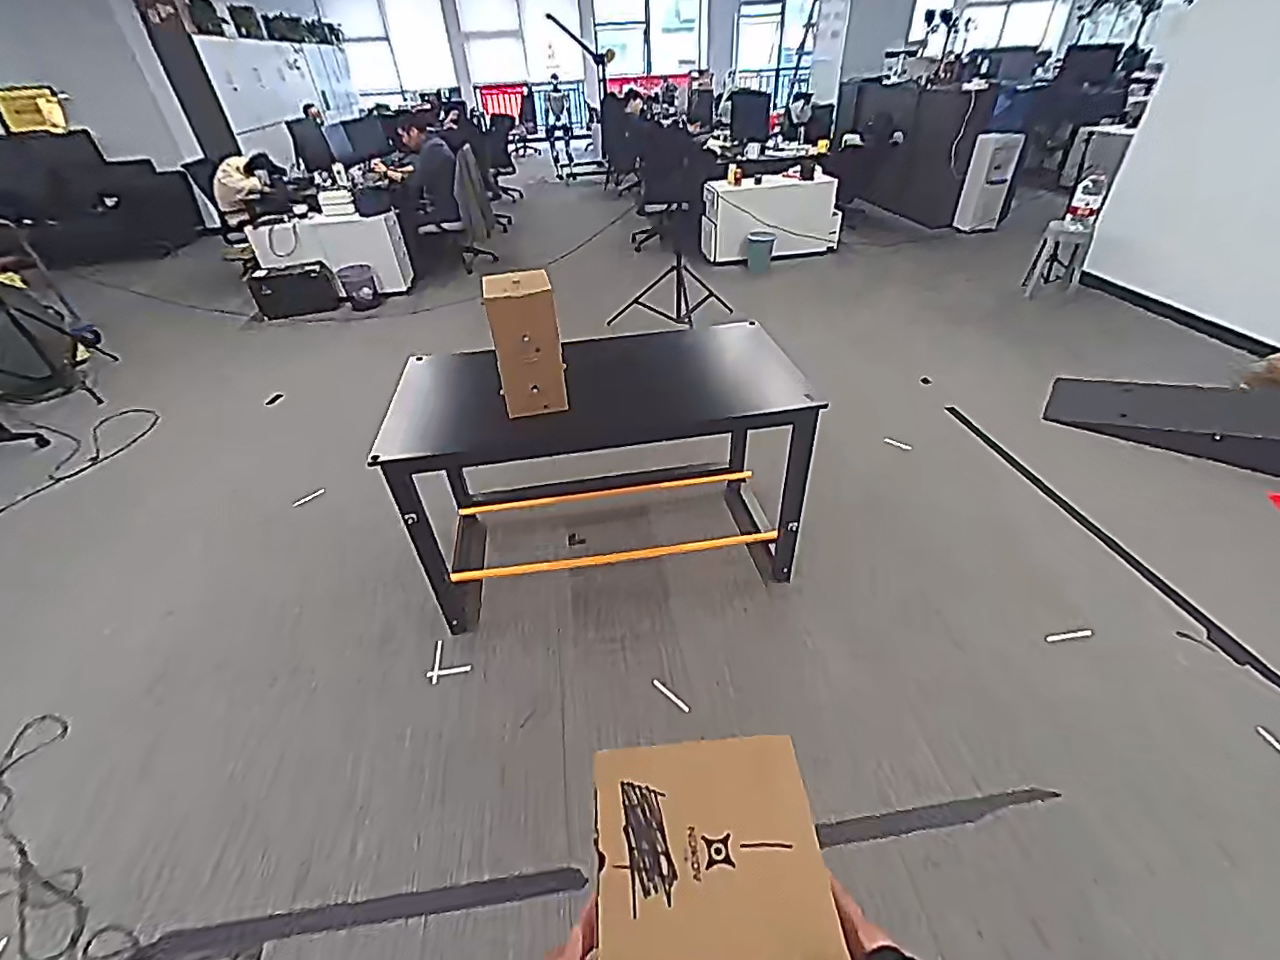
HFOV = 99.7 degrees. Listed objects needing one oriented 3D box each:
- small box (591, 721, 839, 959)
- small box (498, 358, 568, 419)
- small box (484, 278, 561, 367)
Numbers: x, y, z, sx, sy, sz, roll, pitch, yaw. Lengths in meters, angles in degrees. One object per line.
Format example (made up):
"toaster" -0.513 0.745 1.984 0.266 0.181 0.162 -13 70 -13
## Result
"small box" 0.053 0.340 0.483 0.179 0.176 0.168 -4 42 -1
"small box" -0.301 -0.282 1.521 0.168 0.176 0.179 -11 38 -8
"small box" -0.310 -0.416 1.423 0.168 0.176 0.179 -12 38 -9
